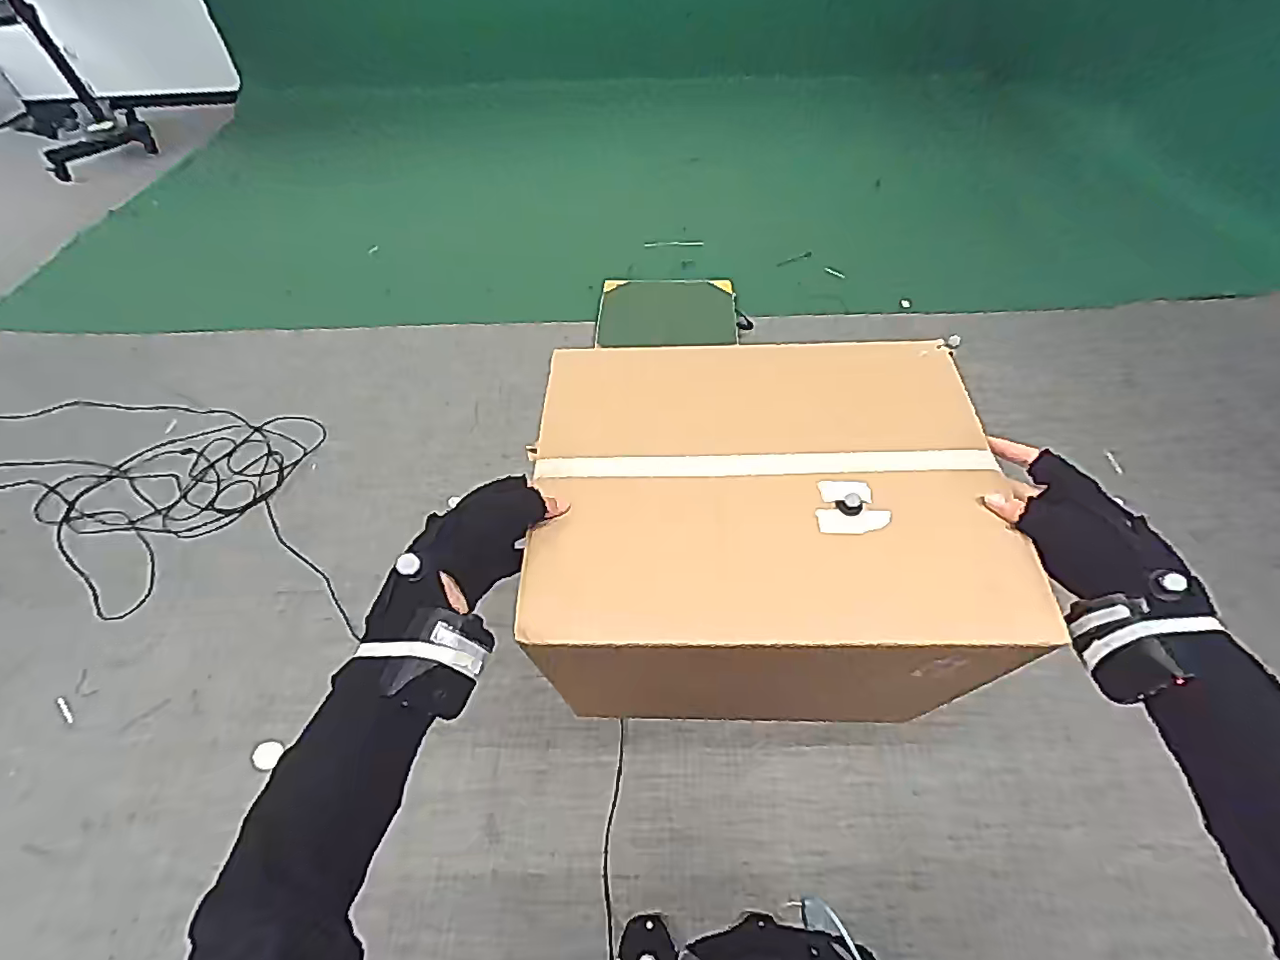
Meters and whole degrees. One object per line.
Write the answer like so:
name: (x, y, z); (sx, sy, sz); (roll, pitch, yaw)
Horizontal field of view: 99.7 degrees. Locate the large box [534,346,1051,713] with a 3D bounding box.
large box: (0.117, 0.071, 0.616); (0.408, 0.320, 0.320); (0, 57, 2)
